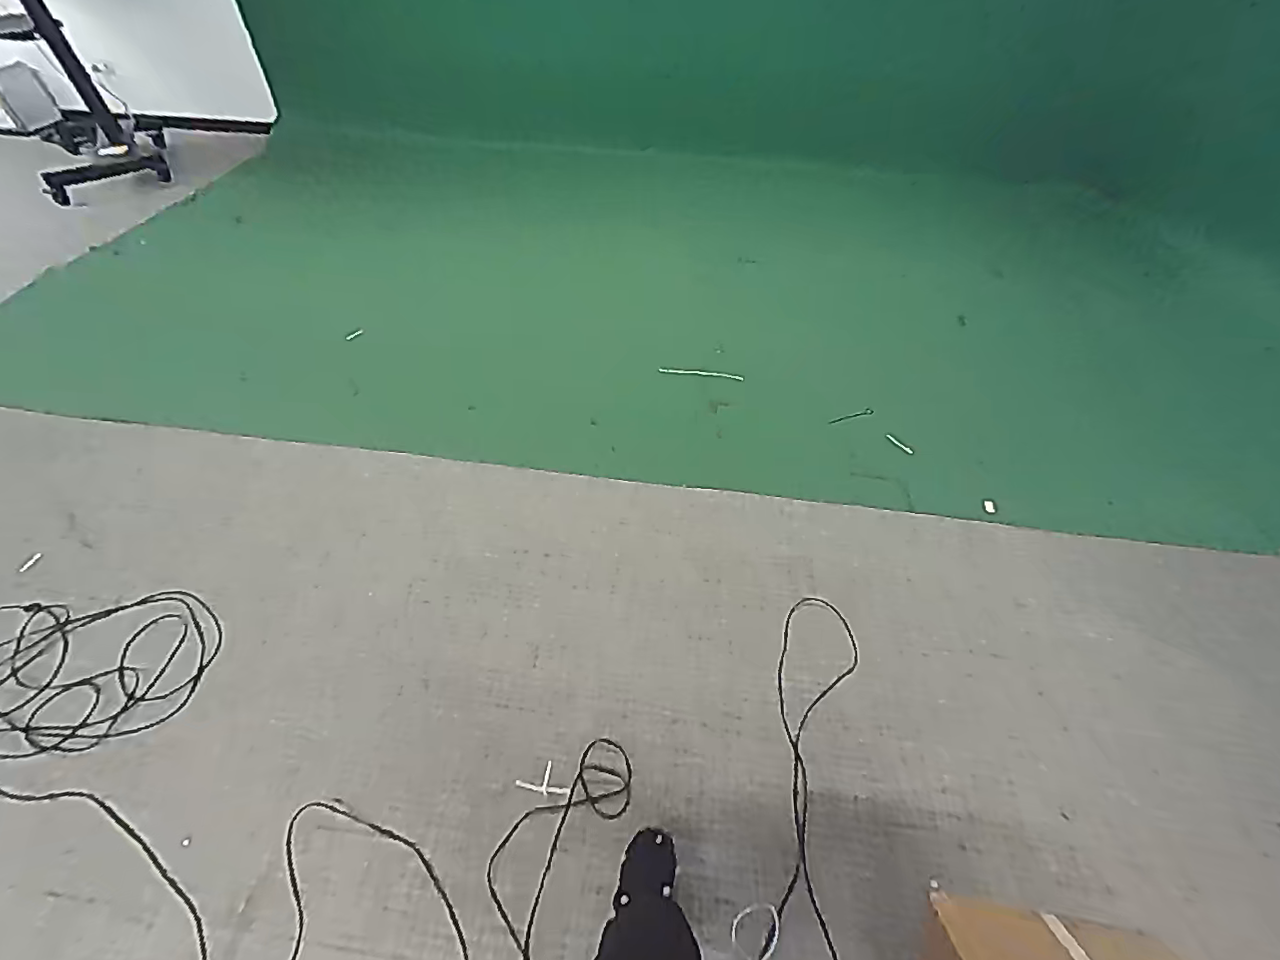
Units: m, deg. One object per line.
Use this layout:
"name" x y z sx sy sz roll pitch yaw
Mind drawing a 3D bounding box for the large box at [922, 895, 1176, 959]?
"large box" 0.534 0.774 0.586 0.320 0.408 0.320 6 89 9
